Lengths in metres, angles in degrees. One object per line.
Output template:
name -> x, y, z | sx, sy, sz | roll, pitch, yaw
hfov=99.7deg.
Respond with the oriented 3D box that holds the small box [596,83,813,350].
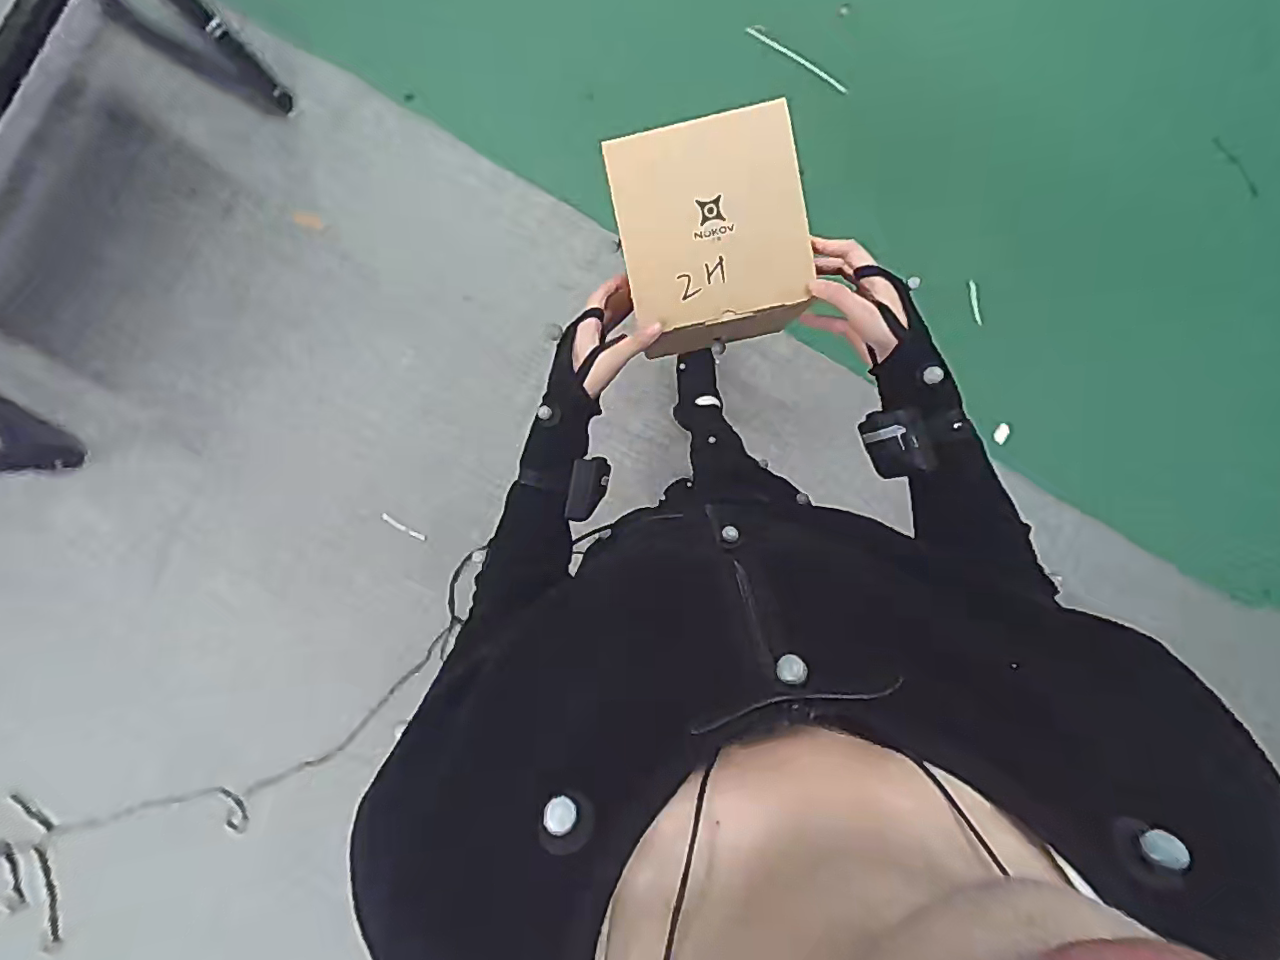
small box -> 0.060, -0.246, 0.551 | 0.168, 0.176, 0.179 | -12, 94, 5
